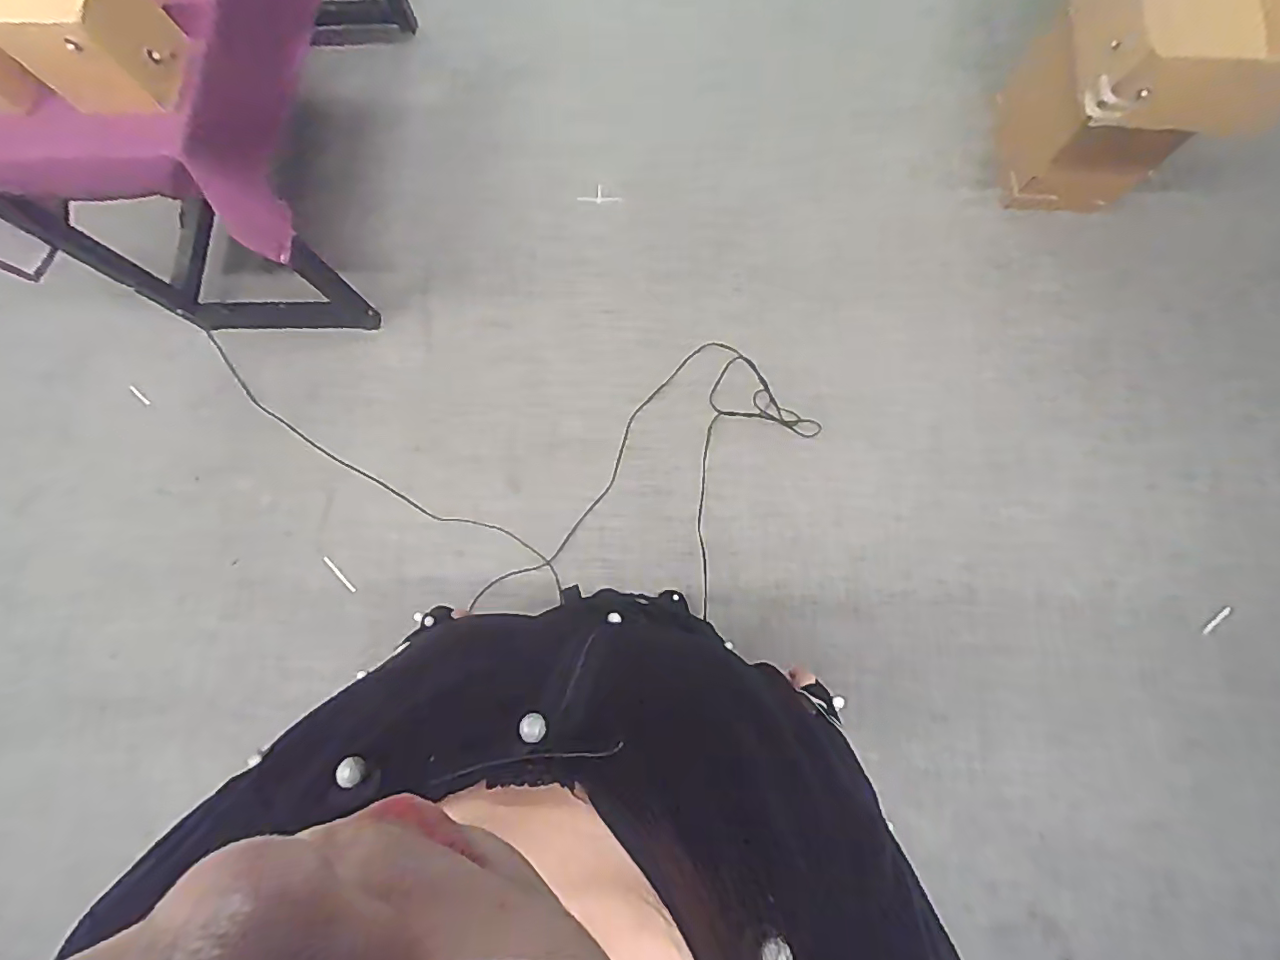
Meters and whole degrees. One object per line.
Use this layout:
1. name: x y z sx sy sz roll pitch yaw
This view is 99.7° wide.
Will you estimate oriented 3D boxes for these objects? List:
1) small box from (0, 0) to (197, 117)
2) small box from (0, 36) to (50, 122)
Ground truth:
1. small box: -0.937 -0.769 0.941 0.179 0.176 0.168 2 79 3
2. small box: -1.209 -0.778 0.955 0.168 0.176 0.179 2 79 4
